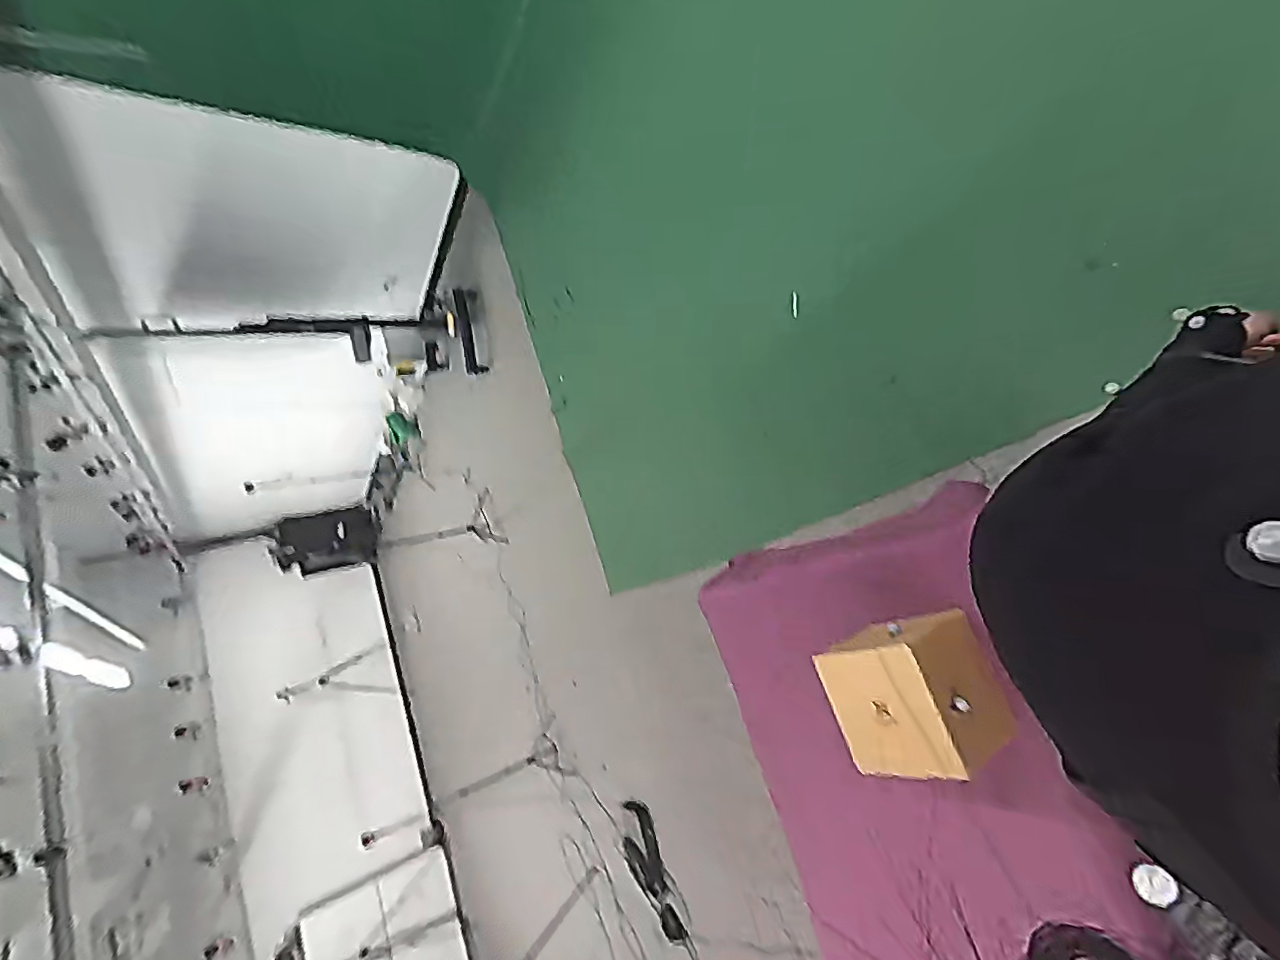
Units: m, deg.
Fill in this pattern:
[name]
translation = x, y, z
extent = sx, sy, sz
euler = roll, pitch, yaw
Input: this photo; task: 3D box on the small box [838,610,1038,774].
[small box]
translation = 0.435, 0.303, 0.796
extent = 0.168, 0.176, 0.179
euler = -38, 69, 52
